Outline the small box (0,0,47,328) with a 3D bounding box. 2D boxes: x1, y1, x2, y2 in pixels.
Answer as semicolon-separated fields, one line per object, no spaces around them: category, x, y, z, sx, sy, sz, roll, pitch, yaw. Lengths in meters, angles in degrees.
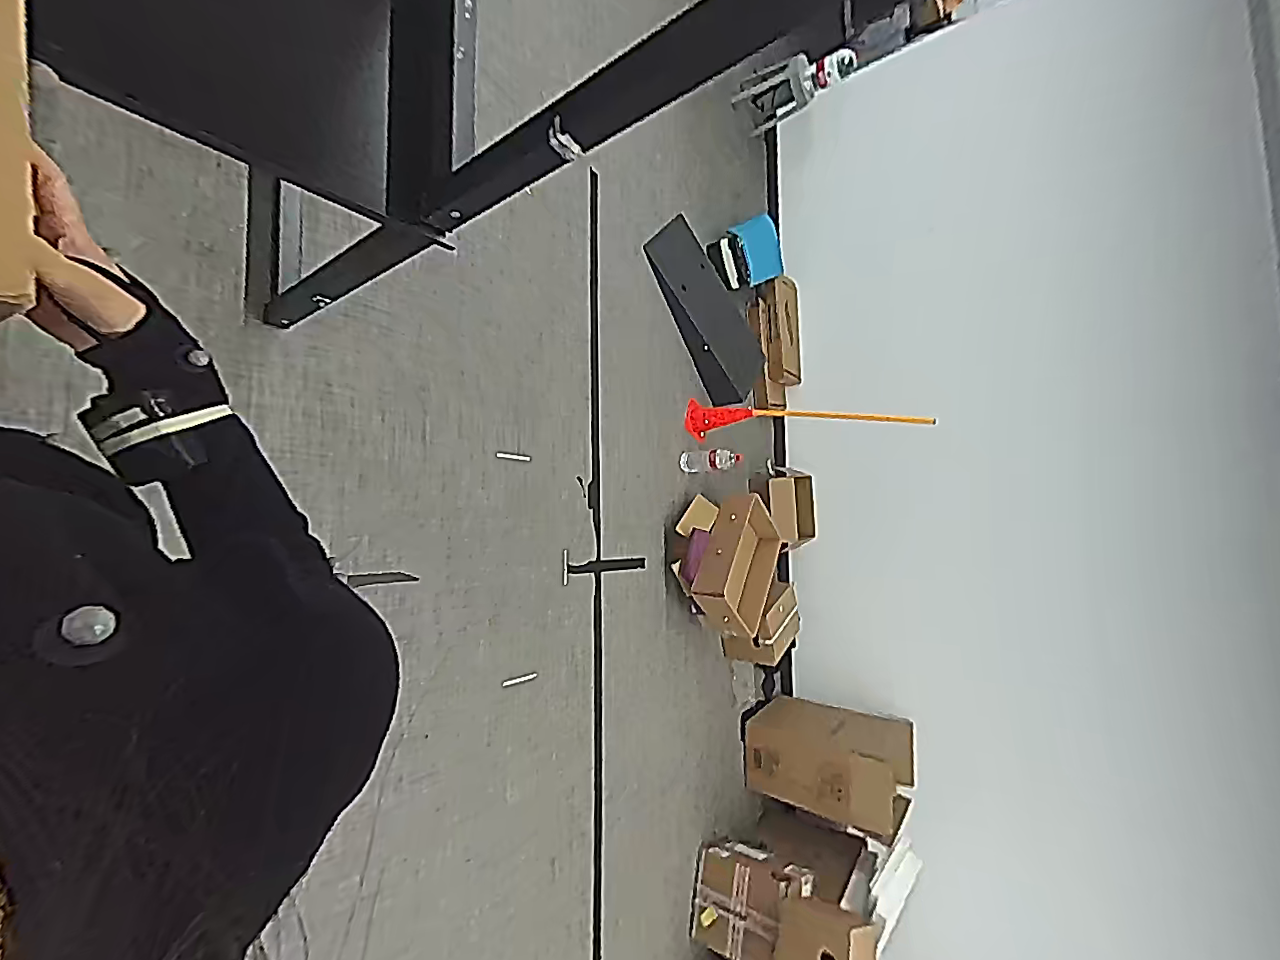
small box;-0.403;-0.171;0.238;0.168;0.176;0.179;-3;95;-57
